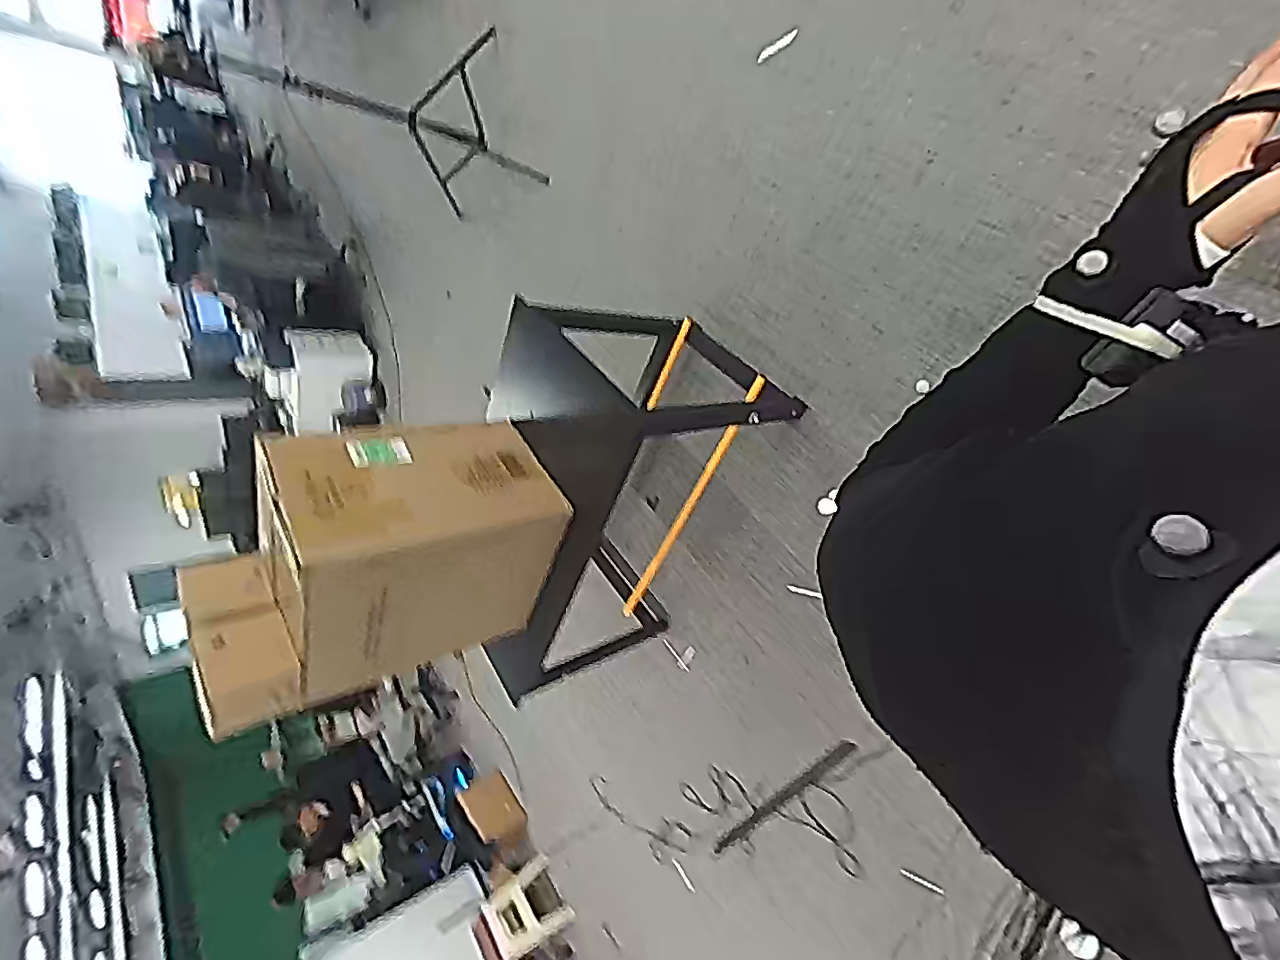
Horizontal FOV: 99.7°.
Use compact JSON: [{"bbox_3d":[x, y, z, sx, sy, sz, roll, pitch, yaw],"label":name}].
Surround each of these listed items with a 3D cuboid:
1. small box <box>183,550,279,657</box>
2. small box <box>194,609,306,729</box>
[{"bbox_3d":[-0.991,0.295,1.317,0.168,0.176,0.179,51,130,31],"label":"small box"},{"bbox_3d":[-0.870,0.409,1.207,0.179,0.176,0.168,47,129,28],"label":"small box"}]
